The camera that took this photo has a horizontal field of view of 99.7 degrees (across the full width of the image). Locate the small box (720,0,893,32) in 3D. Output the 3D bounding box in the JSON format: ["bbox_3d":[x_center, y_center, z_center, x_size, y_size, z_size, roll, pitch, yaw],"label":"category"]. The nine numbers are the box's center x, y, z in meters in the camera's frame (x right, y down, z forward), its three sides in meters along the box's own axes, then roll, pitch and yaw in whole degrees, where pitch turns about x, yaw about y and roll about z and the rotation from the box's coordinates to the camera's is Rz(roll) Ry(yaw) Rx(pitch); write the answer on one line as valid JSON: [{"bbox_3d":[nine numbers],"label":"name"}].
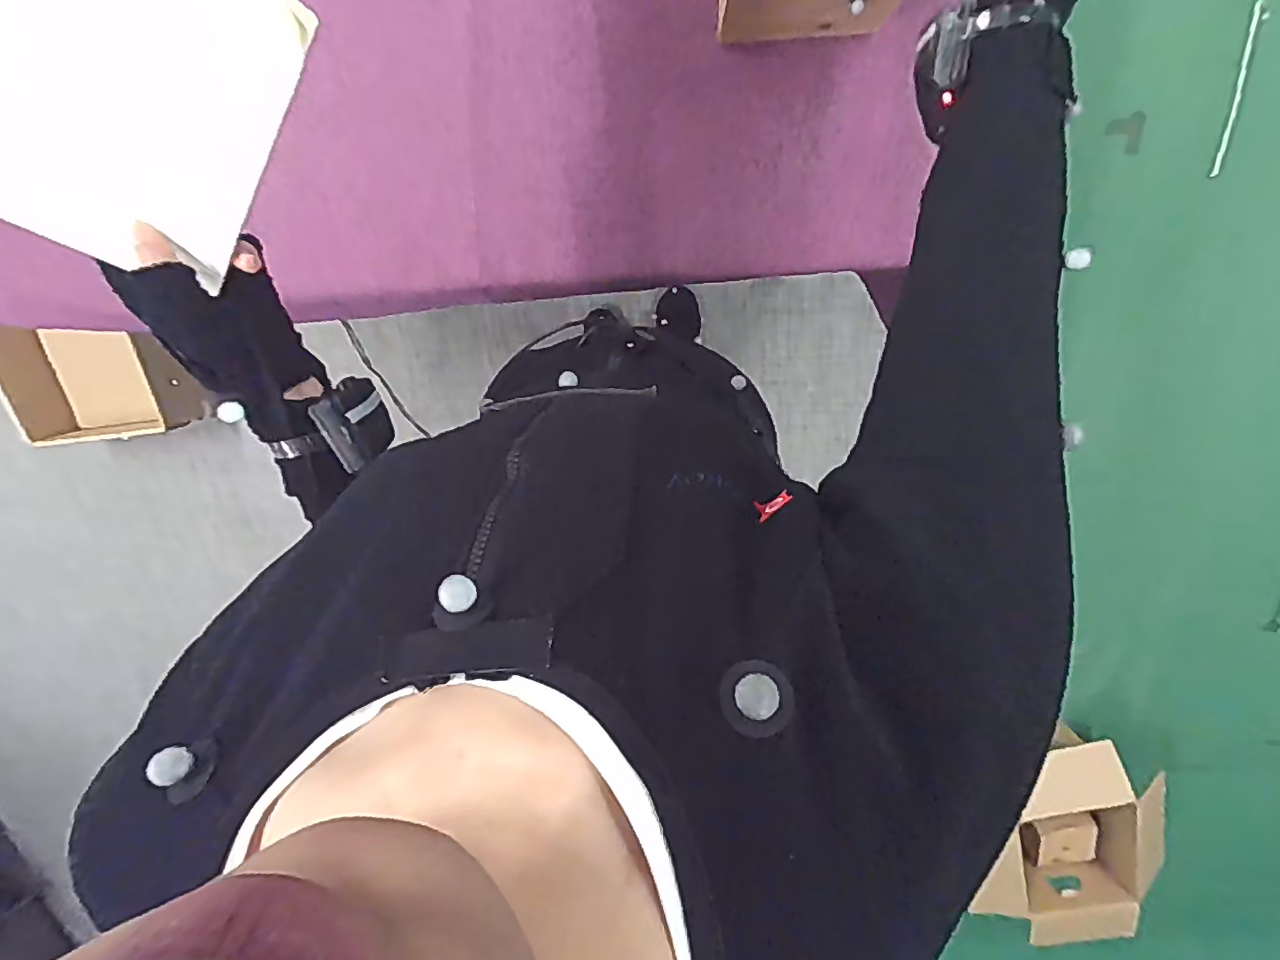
[{"bbox_3d":[0.158,-0.515,0.459,0.168,0.176,0.179,-1,110,3],"label":"small box"}]
